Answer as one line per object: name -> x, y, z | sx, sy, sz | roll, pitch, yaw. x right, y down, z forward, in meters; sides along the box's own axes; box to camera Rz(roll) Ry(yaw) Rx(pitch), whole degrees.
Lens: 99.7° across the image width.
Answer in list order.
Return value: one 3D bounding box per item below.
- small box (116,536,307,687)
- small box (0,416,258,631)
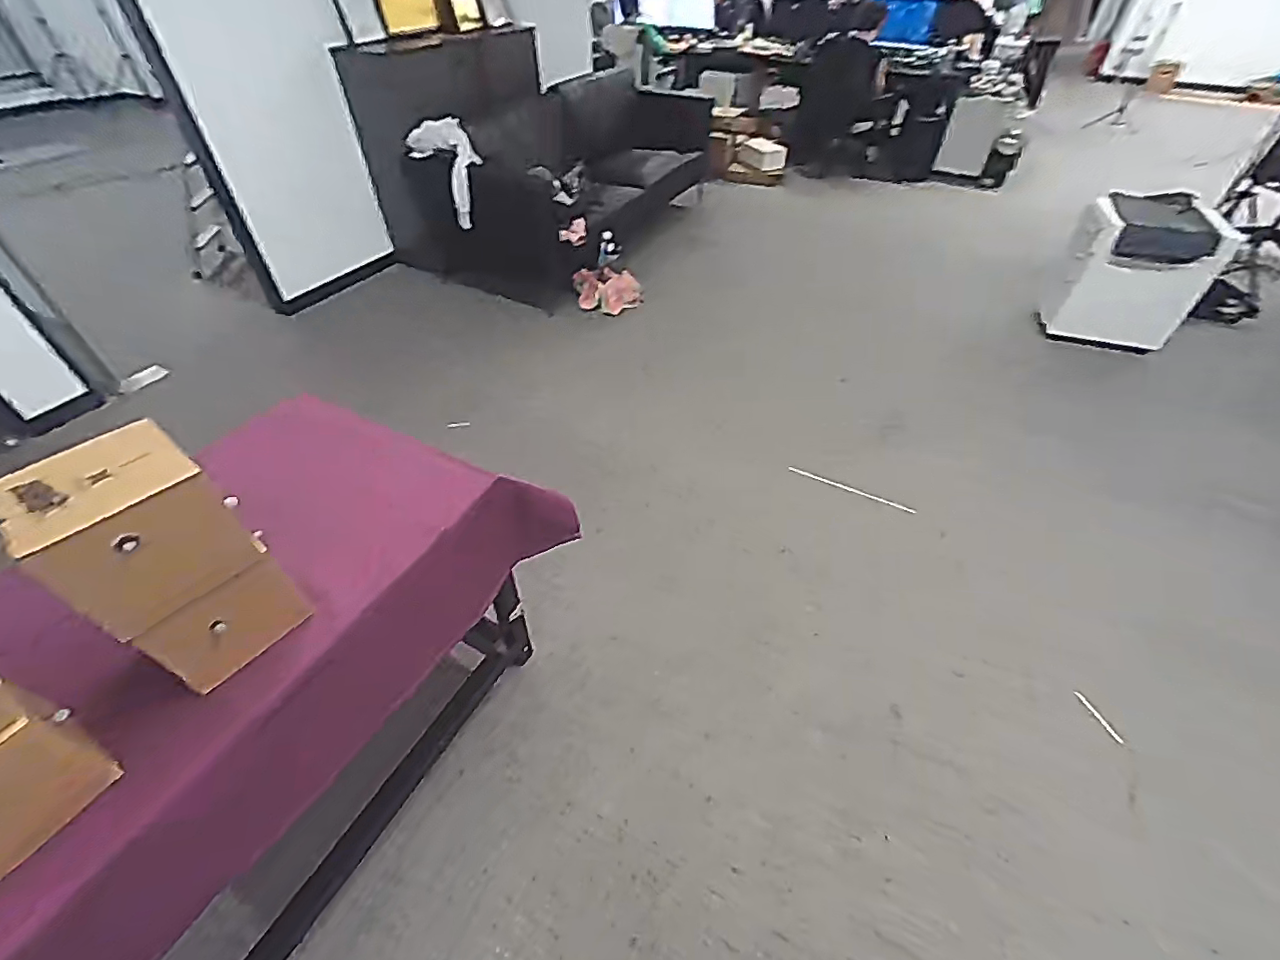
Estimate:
small box -> -0.645, 0.168, 0.801 | 0.168, 0.176, 0.179 | 28, 51, 24
small box -> -0.639, 0.054, 0.682 | 0.168, 0.176, 0.179 | 30, 50, 26
